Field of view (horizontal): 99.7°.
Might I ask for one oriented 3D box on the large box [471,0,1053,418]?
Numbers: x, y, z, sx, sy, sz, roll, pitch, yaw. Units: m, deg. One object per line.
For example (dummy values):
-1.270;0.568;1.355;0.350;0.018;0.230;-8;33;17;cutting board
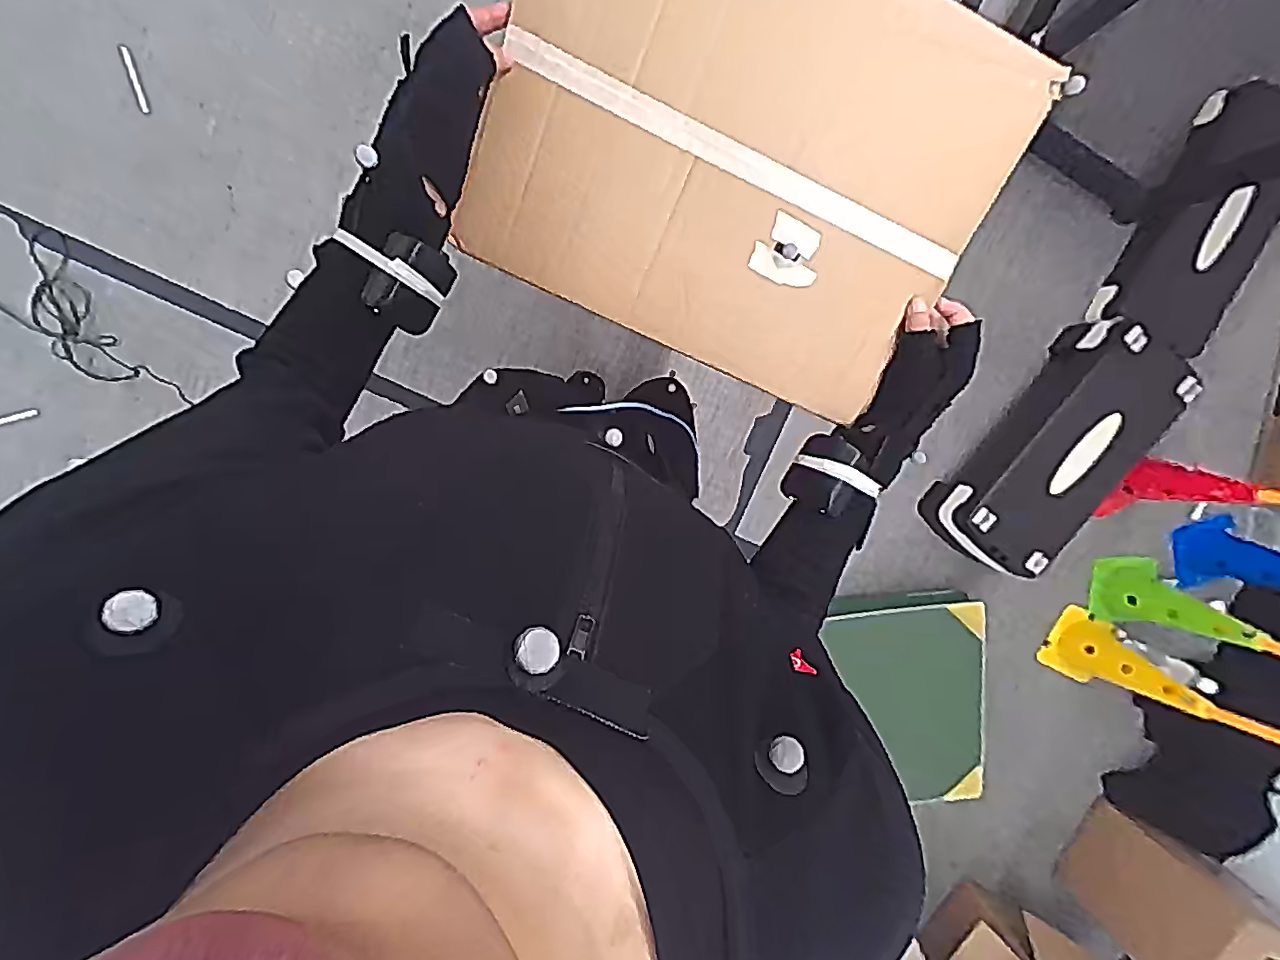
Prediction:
0.089;-0.313;0.590;0.408;0.320;0.320;23;110;-9;large box
